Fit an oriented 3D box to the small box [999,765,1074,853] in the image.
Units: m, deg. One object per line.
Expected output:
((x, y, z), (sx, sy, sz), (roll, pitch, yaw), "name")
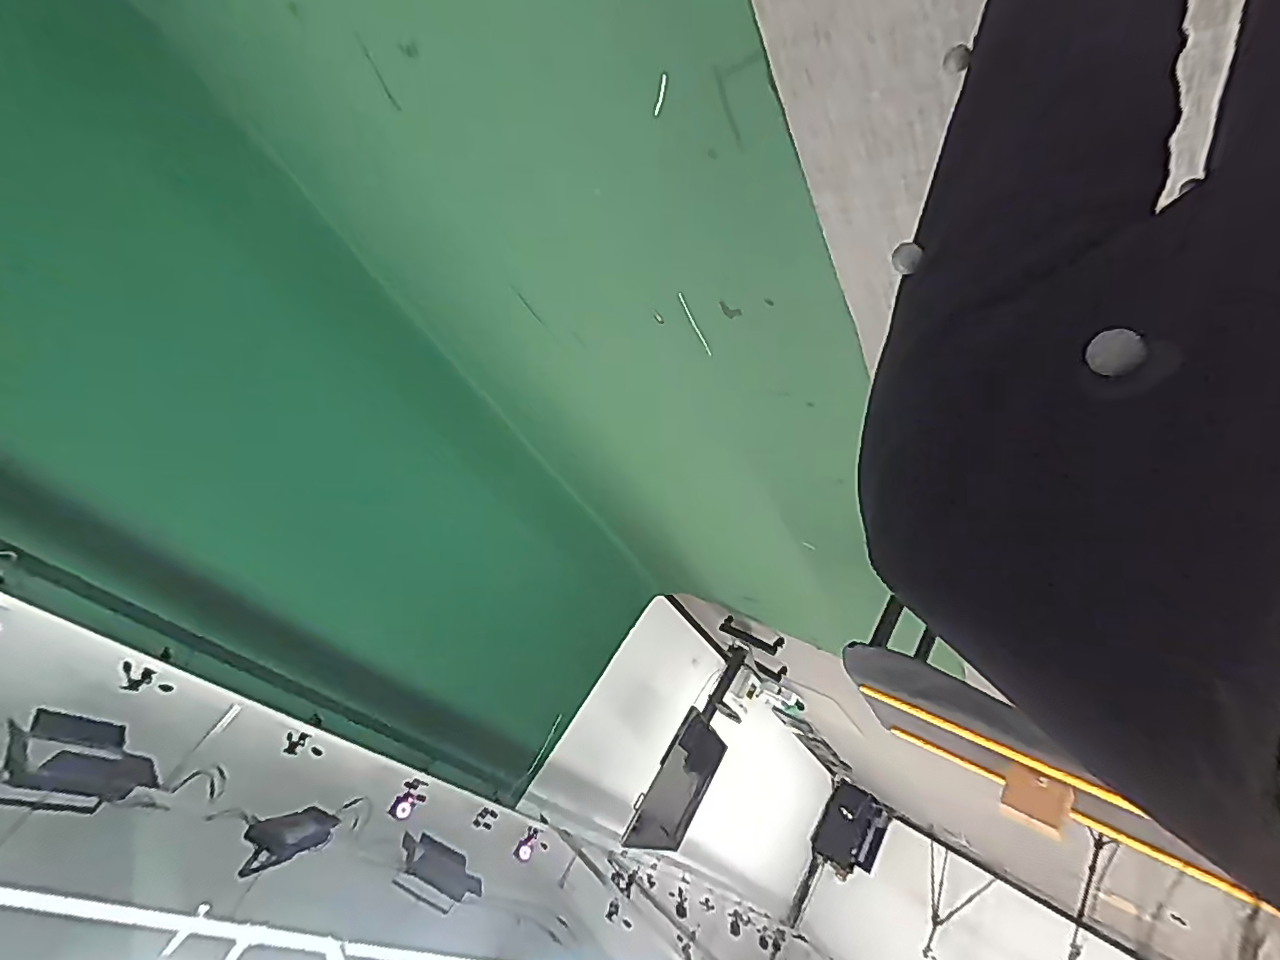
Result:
((1.332, 1.099, 1.811), (0.168, 0.176, 0.179), (10, 146, 47), "small box")
